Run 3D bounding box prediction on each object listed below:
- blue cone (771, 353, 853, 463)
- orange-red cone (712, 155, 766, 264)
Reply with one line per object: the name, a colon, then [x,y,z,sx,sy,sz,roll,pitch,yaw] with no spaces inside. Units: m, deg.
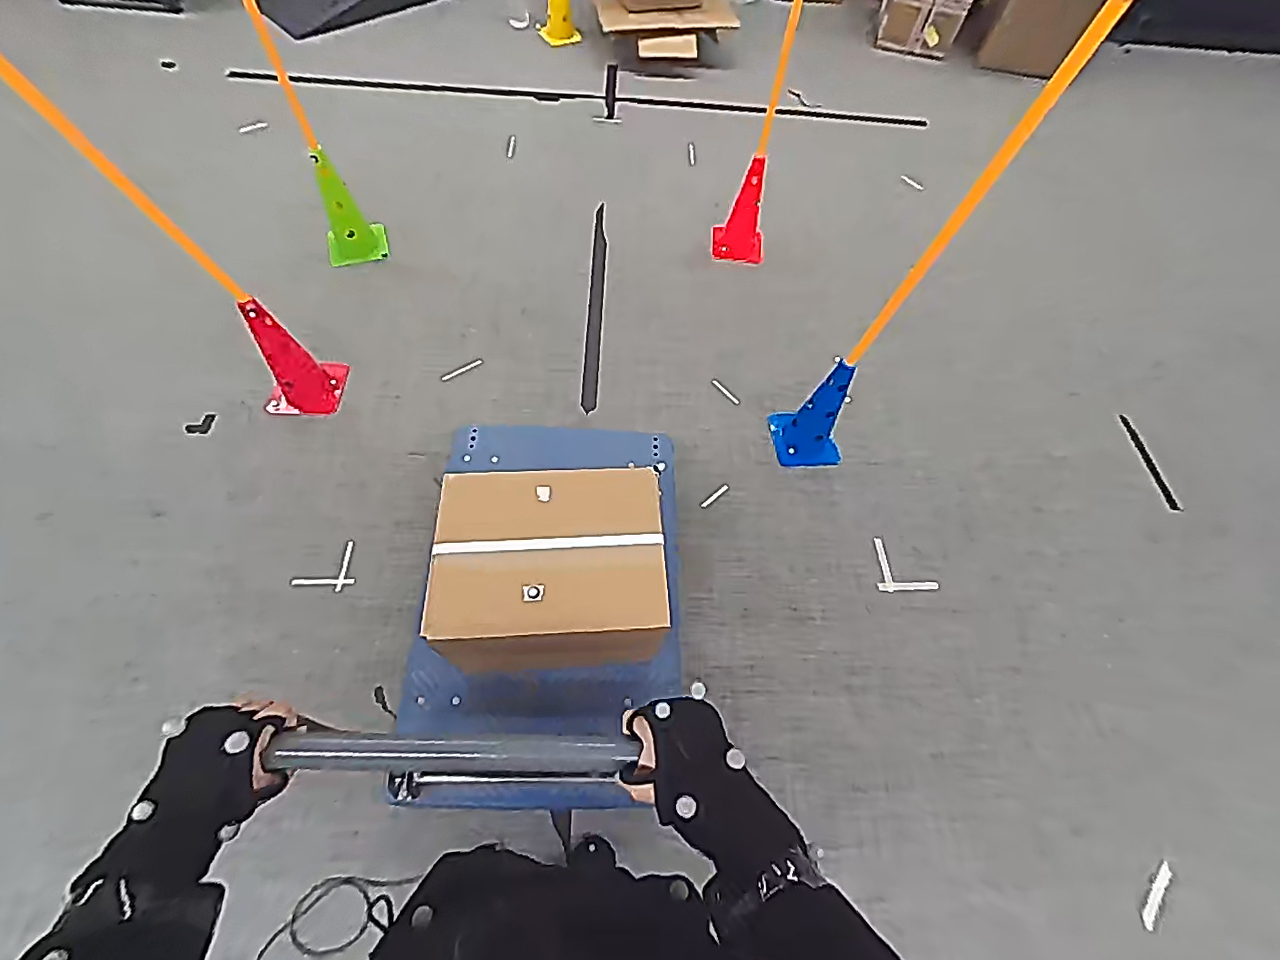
blue cone: [0.534,-0.218,1.577,0.193,0.380,0.192,-2,60,-6]
orange-red cone: [0.404,-1.016,1.998,0.199,0.360,0.198,8,61,-1]
